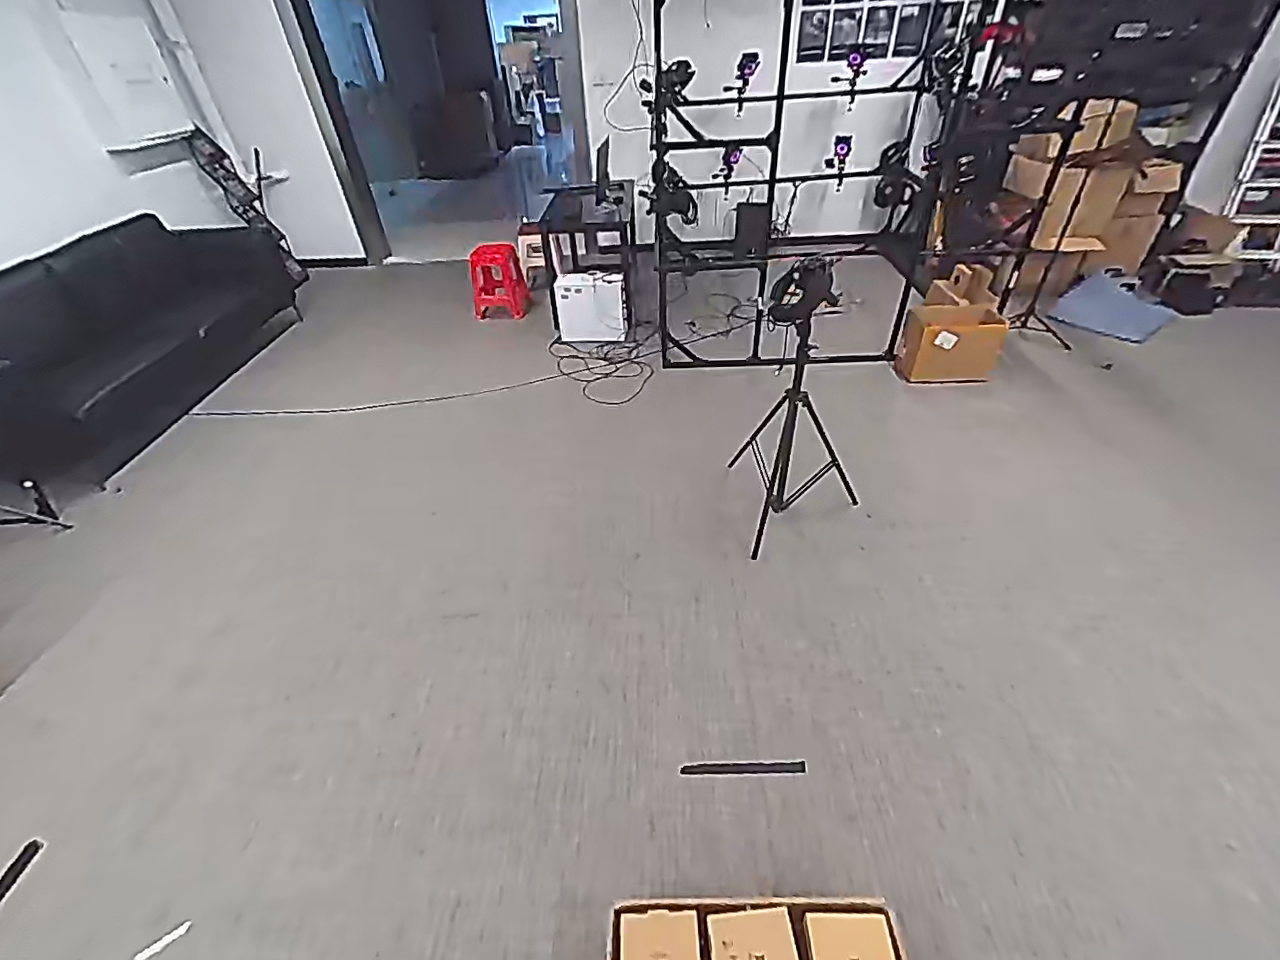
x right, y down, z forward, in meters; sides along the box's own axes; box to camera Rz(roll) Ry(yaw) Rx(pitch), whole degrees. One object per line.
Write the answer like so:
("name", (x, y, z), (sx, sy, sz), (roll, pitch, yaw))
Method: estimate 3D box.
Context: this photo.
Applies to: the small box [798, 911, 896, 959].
("small box", (0.436, 1.029, 1.128), (0.168, 0.176, 0.179), (-2, 42, 4))
